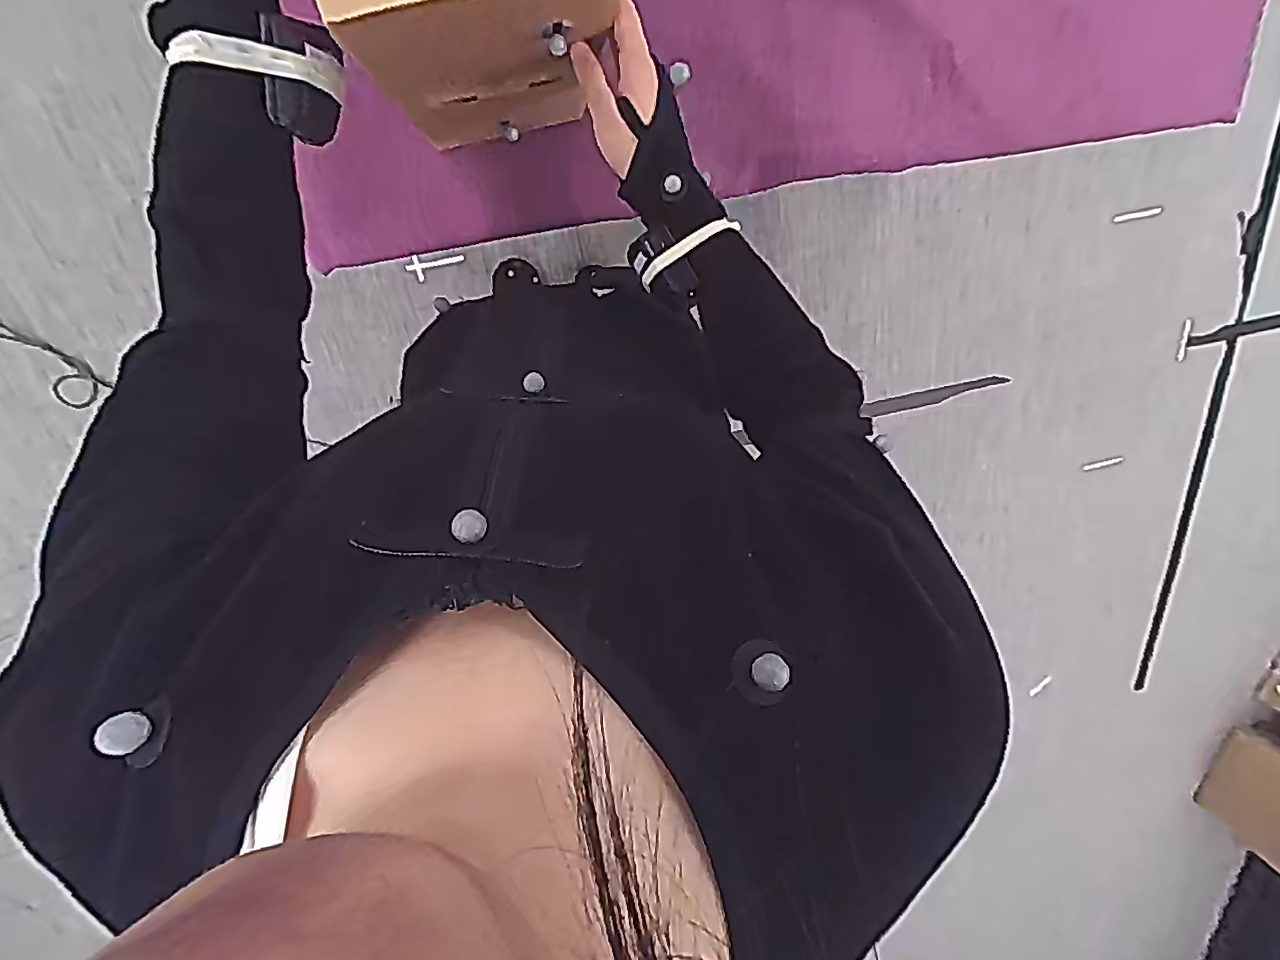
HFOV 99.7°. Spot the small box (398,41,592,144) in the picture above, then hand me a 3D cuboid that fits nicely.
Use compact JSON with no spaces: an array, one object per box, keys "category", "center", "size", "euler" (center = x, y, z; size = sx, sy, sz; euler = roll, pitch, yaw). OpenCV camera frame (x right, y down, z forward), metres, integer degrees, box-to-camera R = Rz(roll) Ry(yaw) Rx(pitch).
[{"category":"small box","center":[-0.150,-0.434,0.490],"size":[0.168,0.176,0.179],"euler":[-16,114,-5]}]

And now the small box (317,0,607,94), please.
[{"category":"small box","center":[-0.122,-0.375,0.340],"size":[0.179,0.176,0.168],"euler":[-16,114,-5]}]
